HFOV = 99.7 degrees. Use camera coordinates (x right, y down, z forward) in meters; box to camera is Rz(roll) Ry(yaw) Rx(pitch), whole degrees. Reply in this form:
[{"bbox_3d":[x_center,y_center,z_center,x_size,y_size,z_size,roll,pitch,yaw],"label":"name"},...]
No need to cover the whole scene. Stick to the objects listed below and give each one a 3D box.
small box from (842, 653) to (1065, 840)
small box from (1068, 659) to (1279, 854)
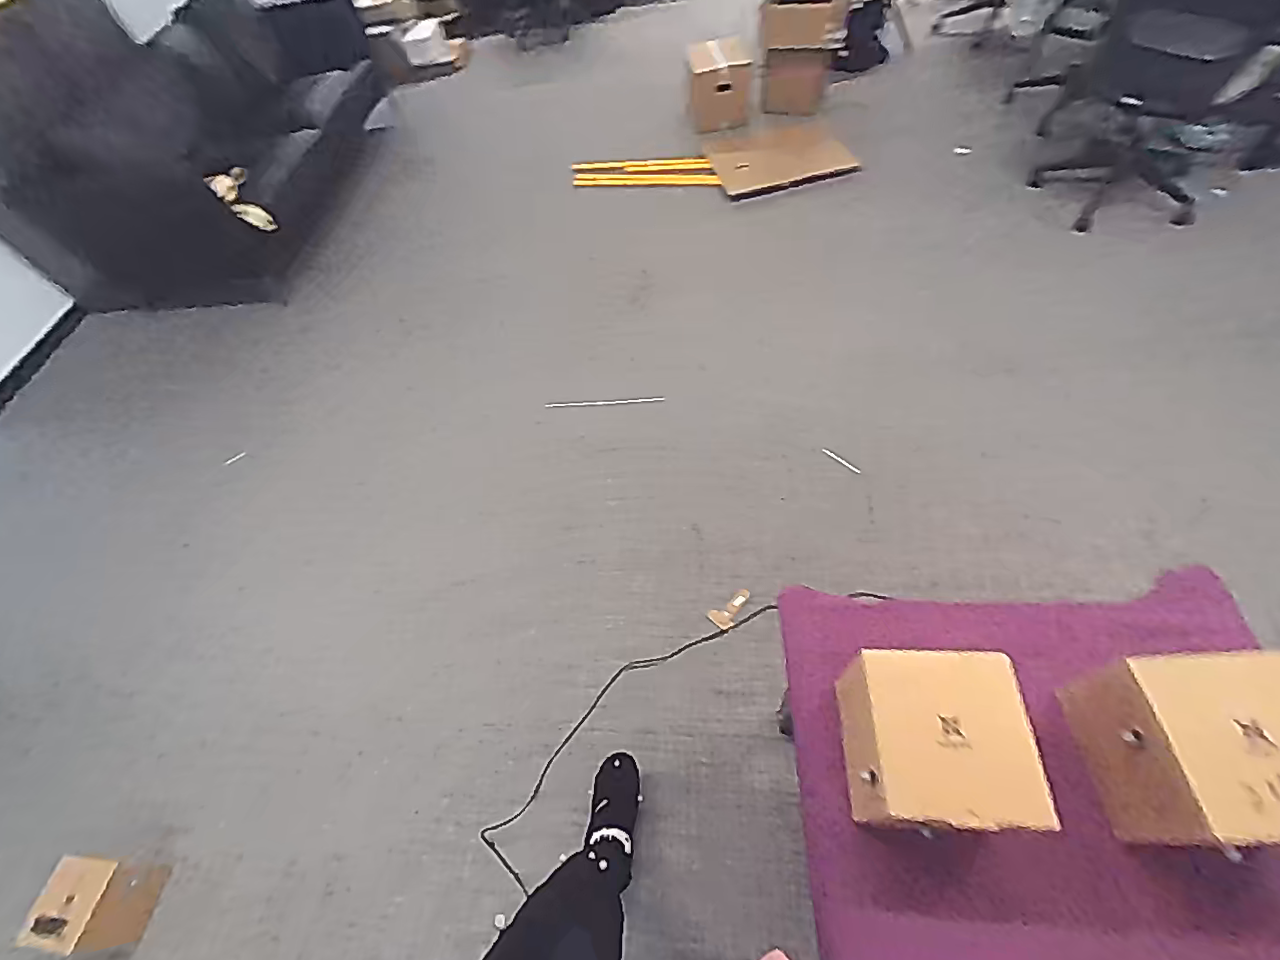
[{"bbox_3d":[0.353,0.323,0.654,0.168,0.176,0.179,0,57,8],"label":"small box"},{"bbox_3d":[0.640,0.315,0.611,0.168,0.176,0.179,-5,56,7],"label":"small box"}]
